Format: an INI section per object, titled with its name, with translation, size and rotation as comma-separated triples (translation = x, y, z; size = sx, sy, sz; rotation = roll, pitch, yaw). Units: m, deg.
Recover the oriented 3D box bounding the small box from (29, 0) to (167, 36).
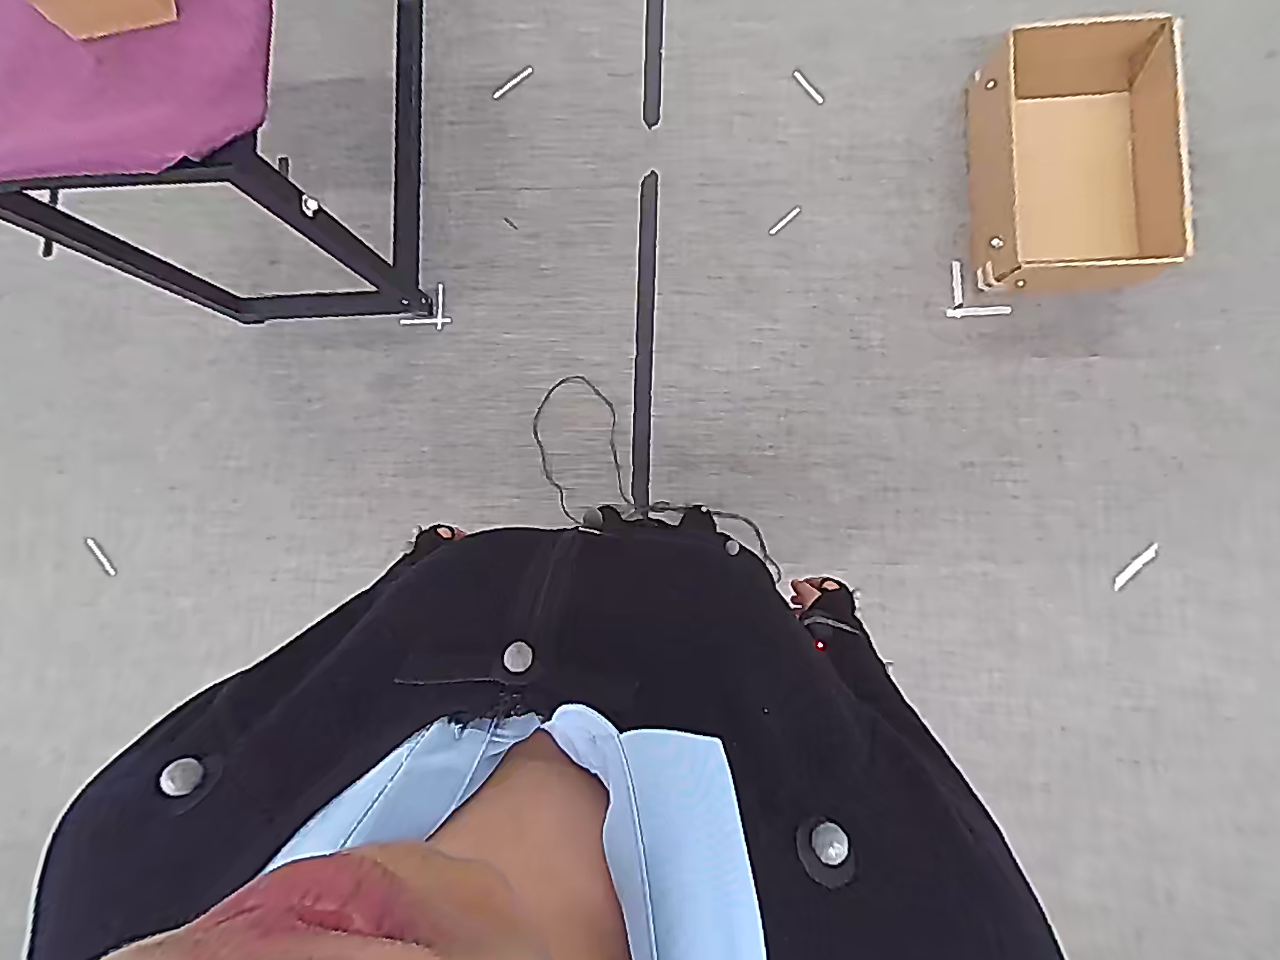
[small box]
translation = -0.841, -0.807, 0.793
size = 0.179, 0.176, 0.168
rotation = -8, 86, 3
